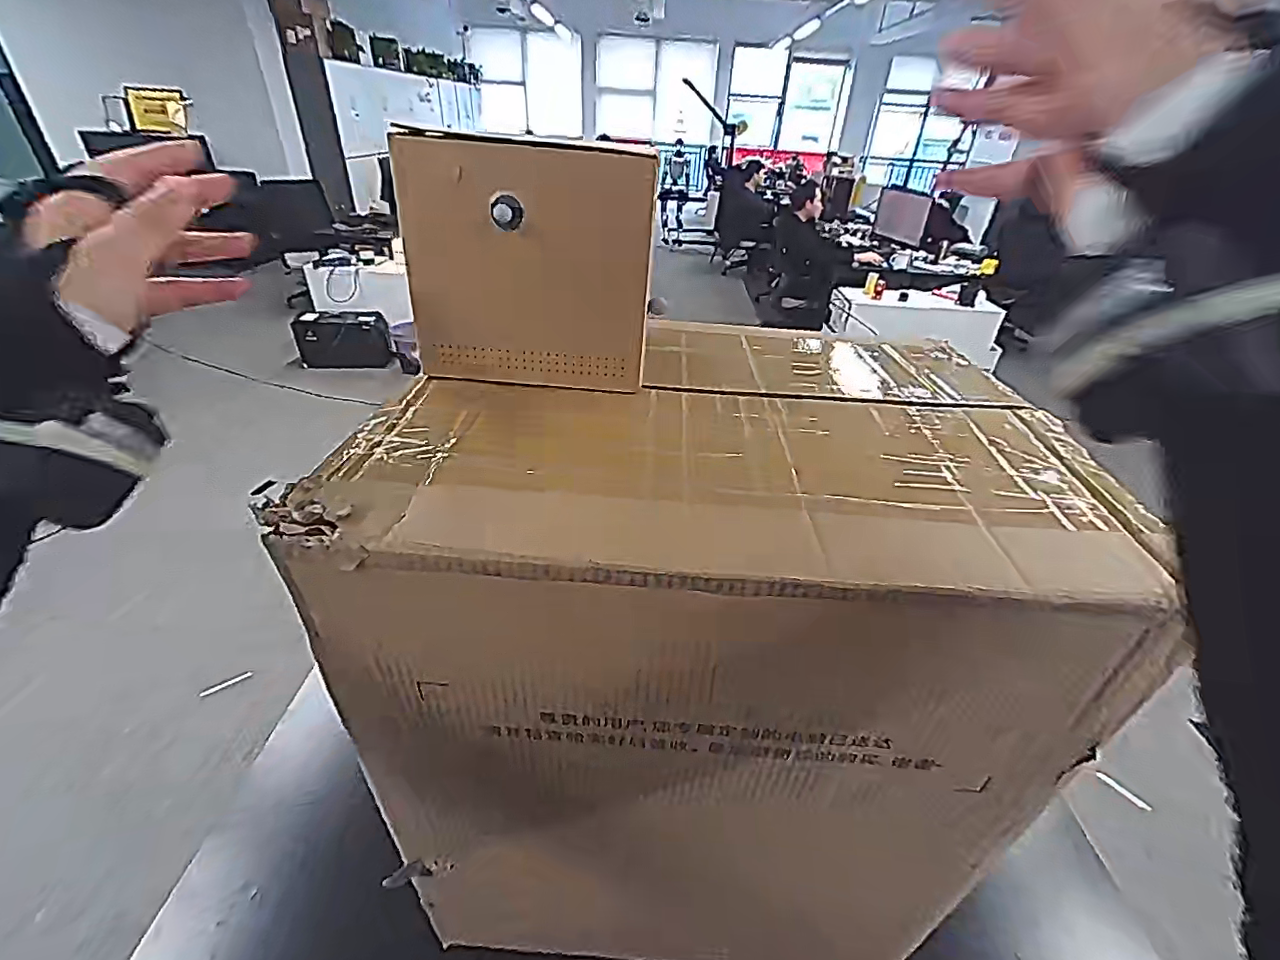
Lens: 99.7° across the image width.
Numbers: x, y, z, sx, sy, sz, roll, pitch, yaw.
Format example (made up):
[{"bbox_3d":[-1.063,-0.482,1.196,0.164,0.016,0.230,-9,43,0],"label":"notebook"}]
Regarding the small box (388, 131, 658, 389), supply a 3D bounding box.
[{"bbox_3d":[-0.079,-0.185,0.455,0.179,0.176,0.168,5,32,0],"label":"small box"}]
